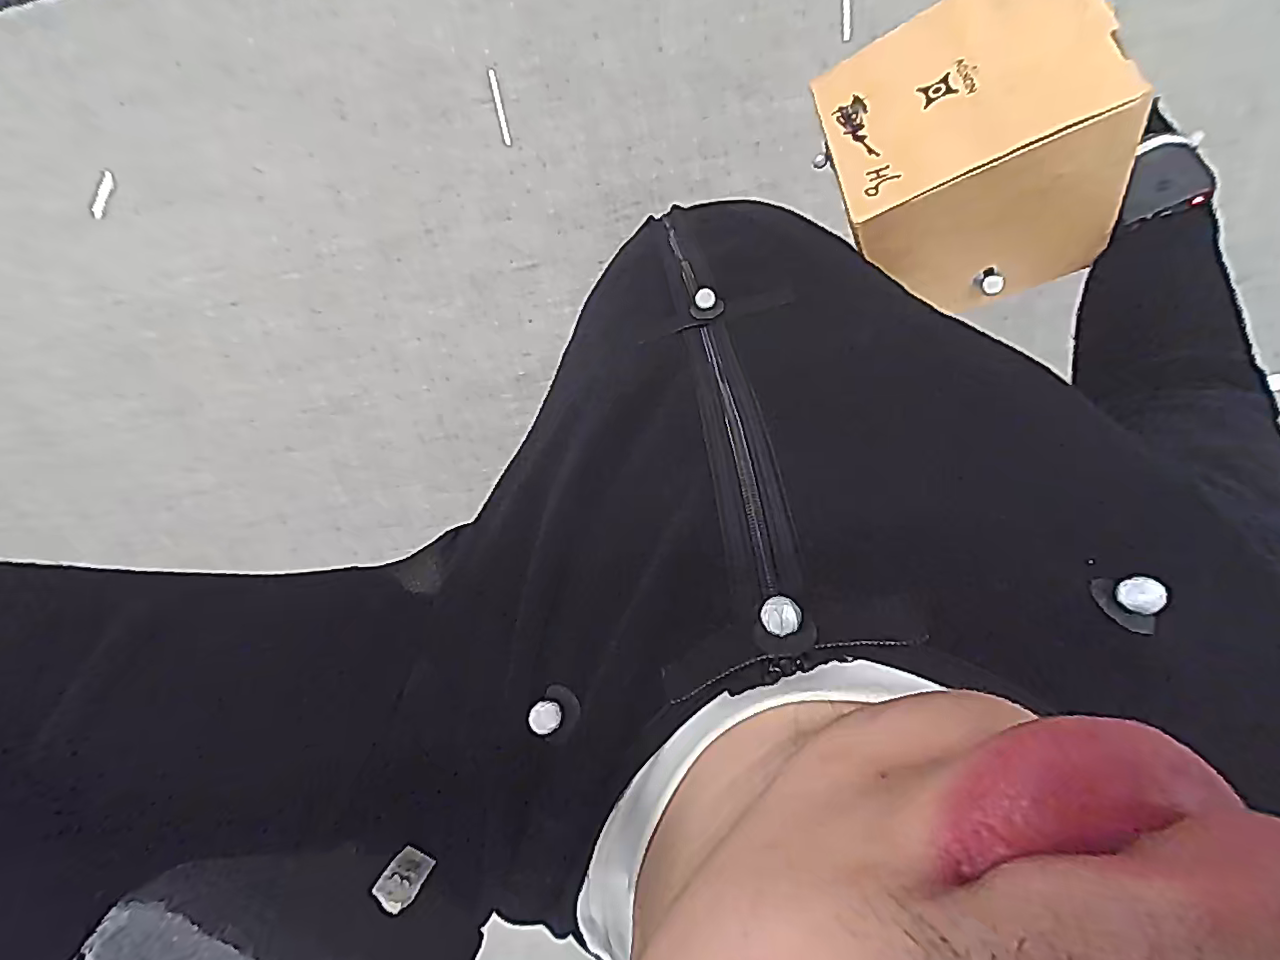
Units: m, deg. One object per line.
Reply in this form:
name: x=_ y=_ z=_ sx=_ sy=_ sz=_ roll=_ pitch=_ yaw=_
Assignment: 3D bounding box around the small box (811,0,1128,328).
small box: x=0.270 y=-0.267 z=0.475 sx=0.179 sy=0.168 sz=0.176 roll=-16 pitch=155 yaw=26
